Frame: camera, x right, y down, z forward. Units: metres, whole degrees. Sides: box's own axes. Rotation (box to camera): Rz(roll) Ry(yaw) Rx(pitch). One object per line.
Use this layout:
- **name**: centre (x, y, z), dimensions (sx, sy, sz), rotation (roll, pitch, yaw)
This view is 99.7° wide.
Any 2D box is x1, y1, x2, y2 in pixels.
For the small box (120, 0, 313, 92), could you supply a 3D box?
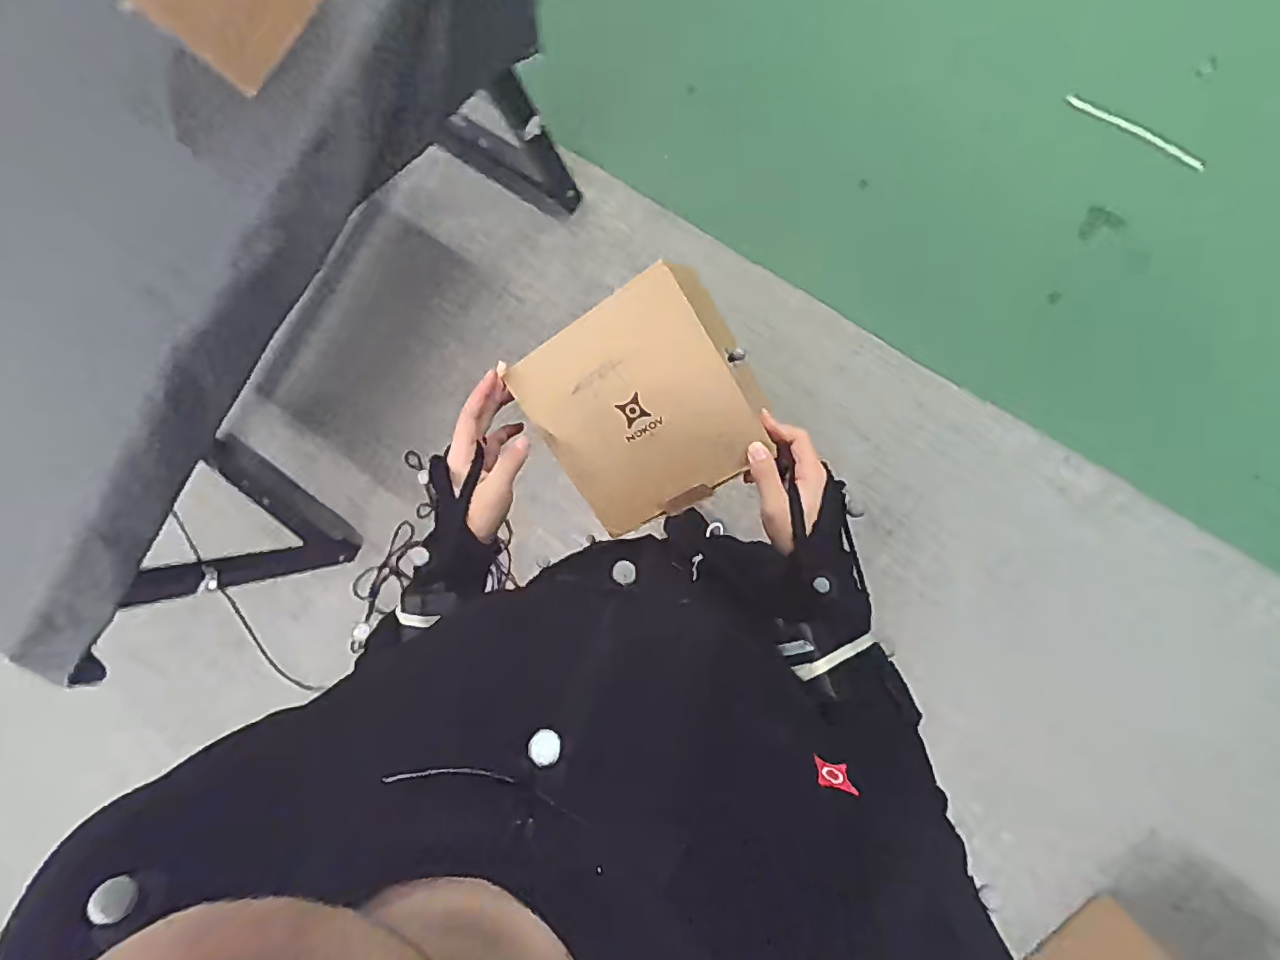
- **small box**: centre (-0.538, -0.623, 0.643), dimensions (0.168, 0.176, 0.179), rotation (41, 96, 8)
